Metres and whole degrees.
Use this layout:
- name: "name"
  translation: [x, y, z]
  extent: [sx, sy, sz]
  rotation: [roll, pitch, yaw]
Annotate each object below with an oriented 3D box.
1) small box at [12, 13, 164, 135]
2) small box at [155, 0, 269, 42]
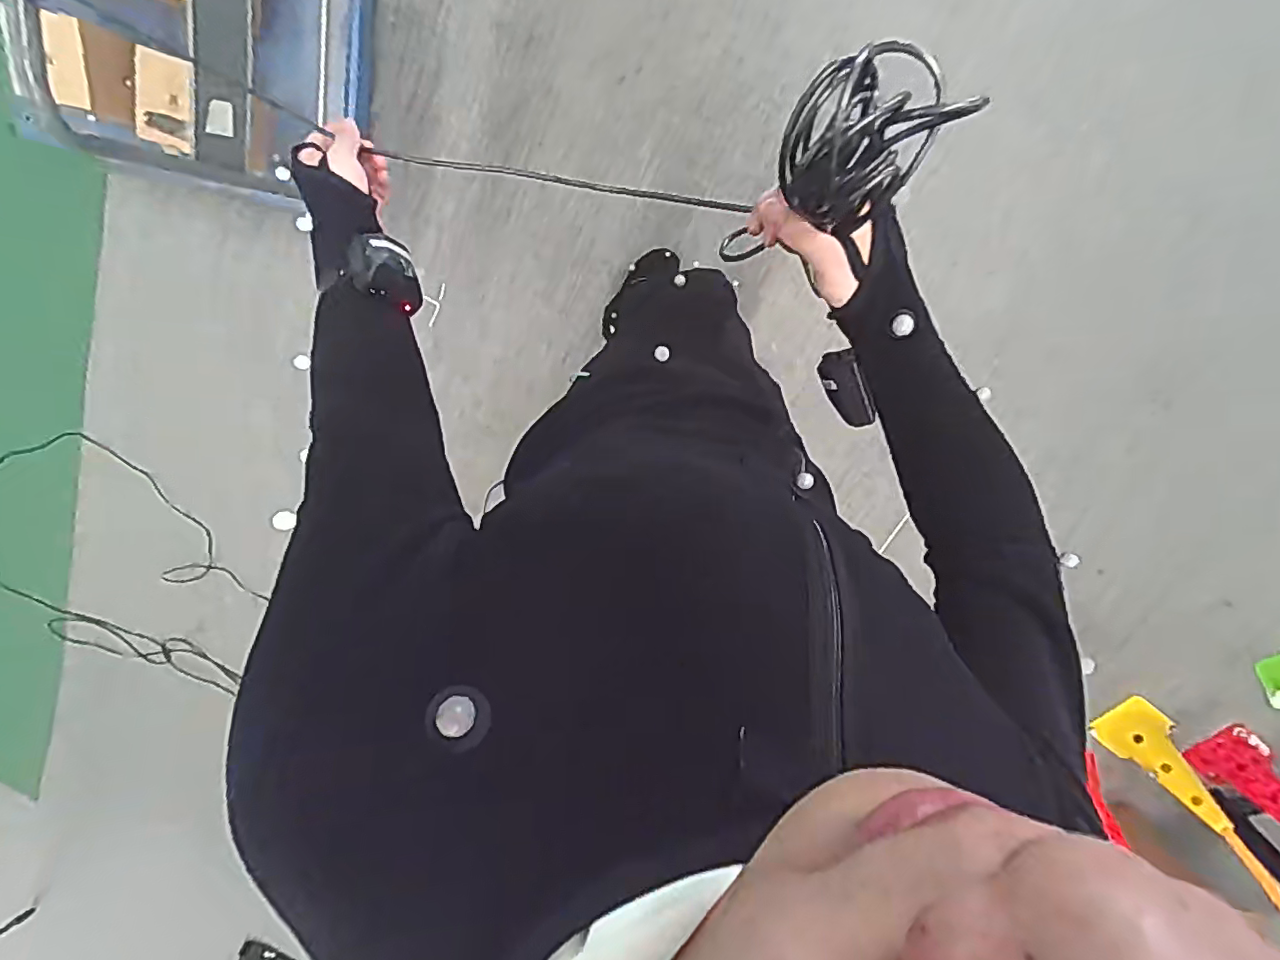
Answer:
- name: "small box"
  translation: [-1.222, -0.901, 1.218]
  extent: [0.179, 0.176, 0.168]
  rotation: [12, 110, 2]
- name: "small box"
  translation: [-0.916, -1.060, 1.128]
  extent: [0.179, 0.176, 0.168]
  rotation: [16, 110, 0]
